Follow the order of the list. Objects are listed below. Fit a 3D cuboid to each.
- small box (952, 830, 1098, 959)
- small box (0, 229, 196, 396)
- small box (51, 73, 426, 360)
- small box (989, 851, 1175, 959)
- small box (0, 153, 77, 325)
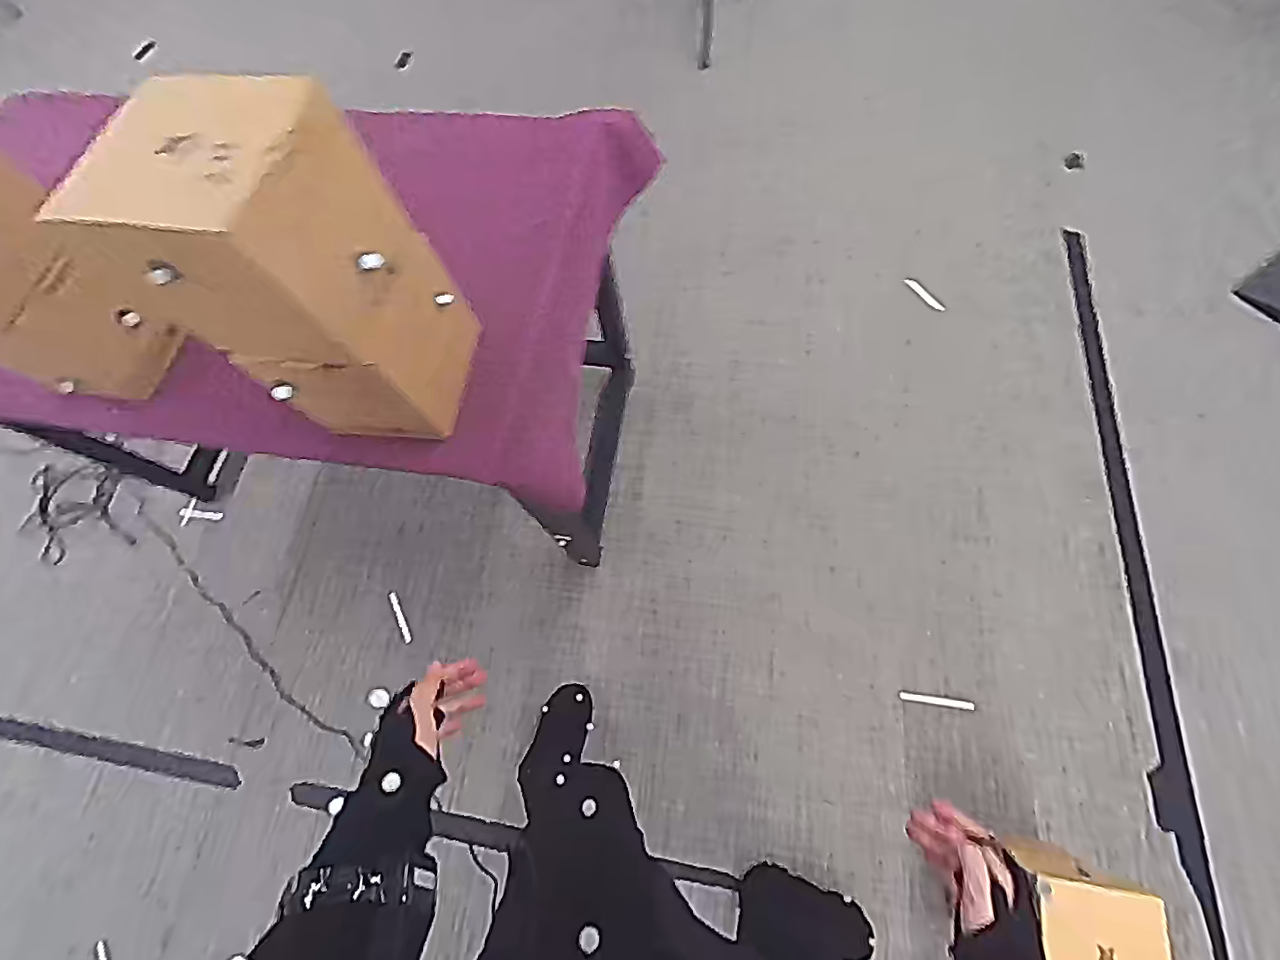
[{"bbox_3d":[0.683,0.751,0.970,0.179,0.176,0.168,5,71,7],"label":"small box"},{"bbox_3d":[-0.747,-0.226,0.715,0.179,0.176,0.168,8,70,9],"label":"small box"},{"bbox_3d":[-0.333,-0.227,0.490,0.179,0.176,0.168,9,70,10],"label":"small box"},{"bbox_3d":[0.657,0.696,0.820,0.168,0.176,0.179,6,71,9],"label":"small box"},{"bbox_3d":[-0.762,-0.279,0.558,0.168,0.176,0.179,8,70,10],"label":"small box"}]
